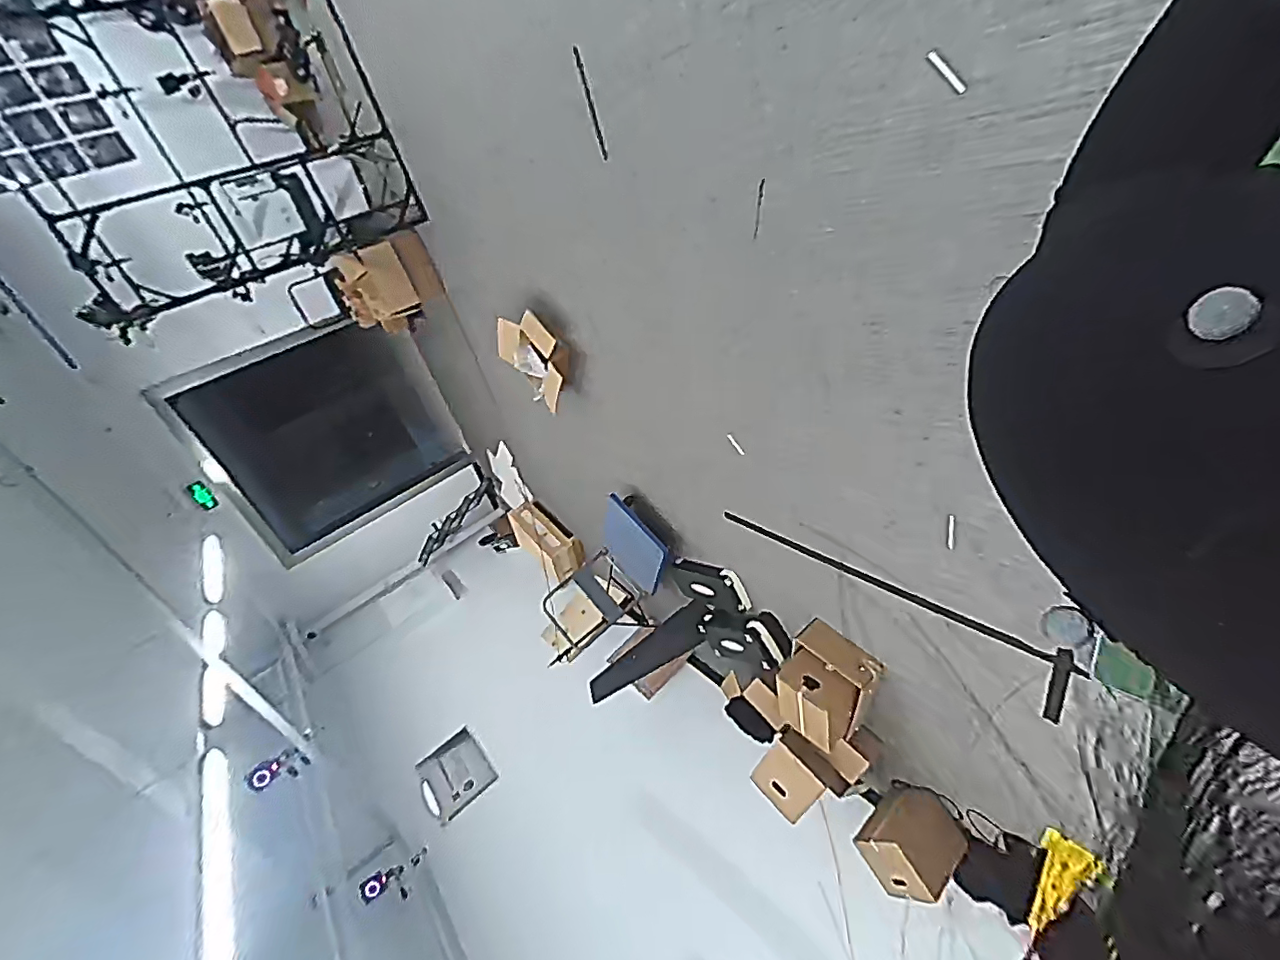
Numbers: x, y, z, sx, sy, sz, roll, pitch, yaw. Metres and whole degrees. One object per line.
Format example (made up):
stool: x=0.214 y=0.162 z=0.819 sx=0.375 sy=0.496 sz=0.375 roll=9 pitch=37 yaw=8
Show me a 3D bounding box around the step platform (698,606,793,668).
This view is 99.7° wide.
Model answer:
step platform: x=0.646 y=0.996 z=3.452 sx=0.286 sy=0.204 sz=0.684 roll=58 pitch=154 yaw=-5
